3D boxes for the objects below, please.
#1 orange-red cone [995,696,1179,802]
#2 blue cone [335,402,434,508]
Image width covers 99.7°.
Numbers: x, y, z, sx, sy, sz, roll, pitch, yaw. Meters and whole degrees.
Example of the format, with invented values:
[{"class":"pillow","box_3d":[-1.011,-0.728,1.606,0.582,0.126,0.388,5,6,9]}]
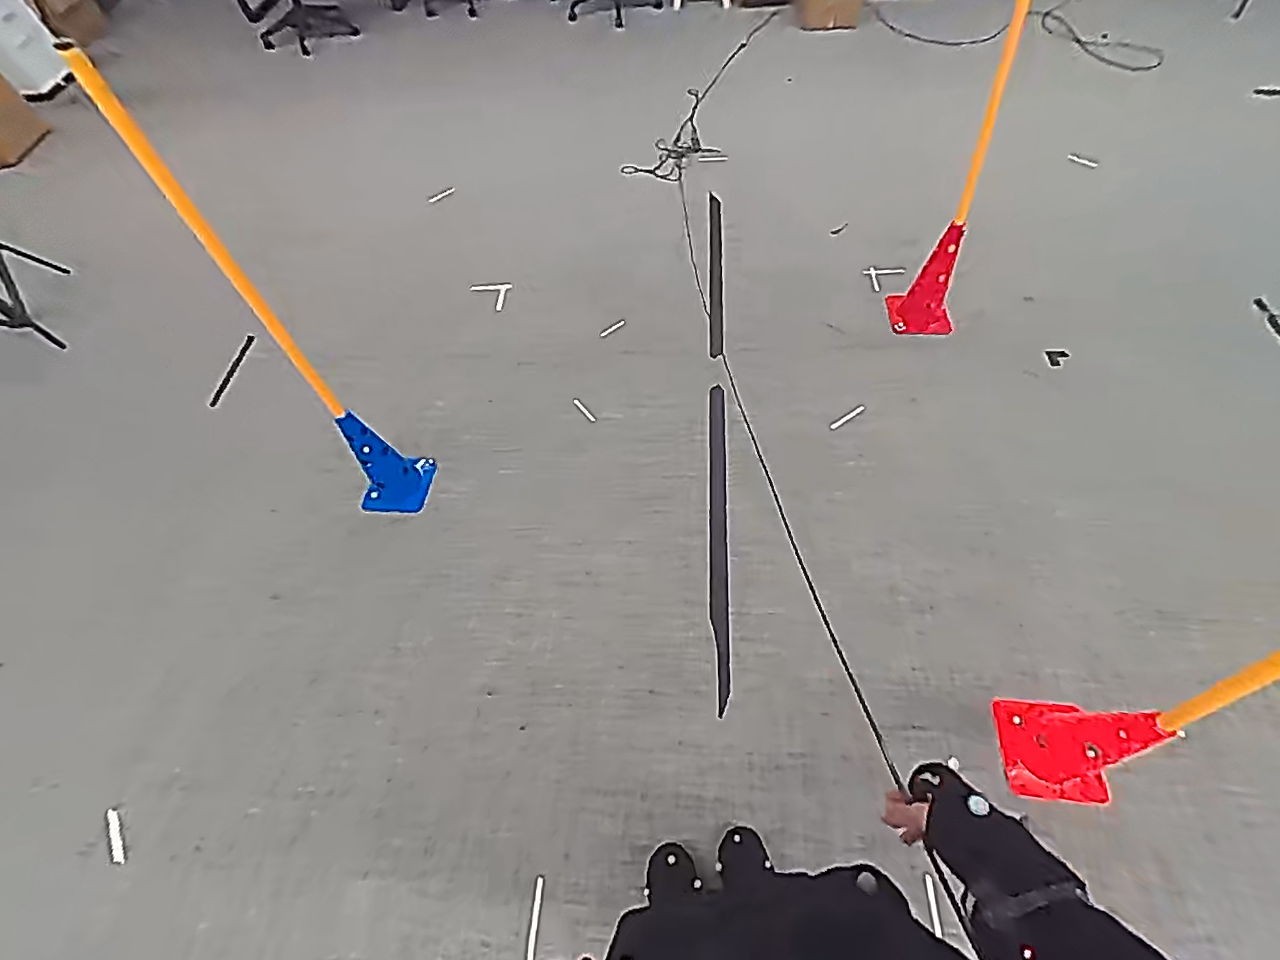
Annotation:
[{"class":"orange-red cone","box_3d":[0.887,0.496,1.043,0.198,0.360,0.199,3,59,8]},{"class":"blue cone","box_3d":[-0.780,-0.085,1.586,0.193,0.380,0.192,4,58,7]}]
